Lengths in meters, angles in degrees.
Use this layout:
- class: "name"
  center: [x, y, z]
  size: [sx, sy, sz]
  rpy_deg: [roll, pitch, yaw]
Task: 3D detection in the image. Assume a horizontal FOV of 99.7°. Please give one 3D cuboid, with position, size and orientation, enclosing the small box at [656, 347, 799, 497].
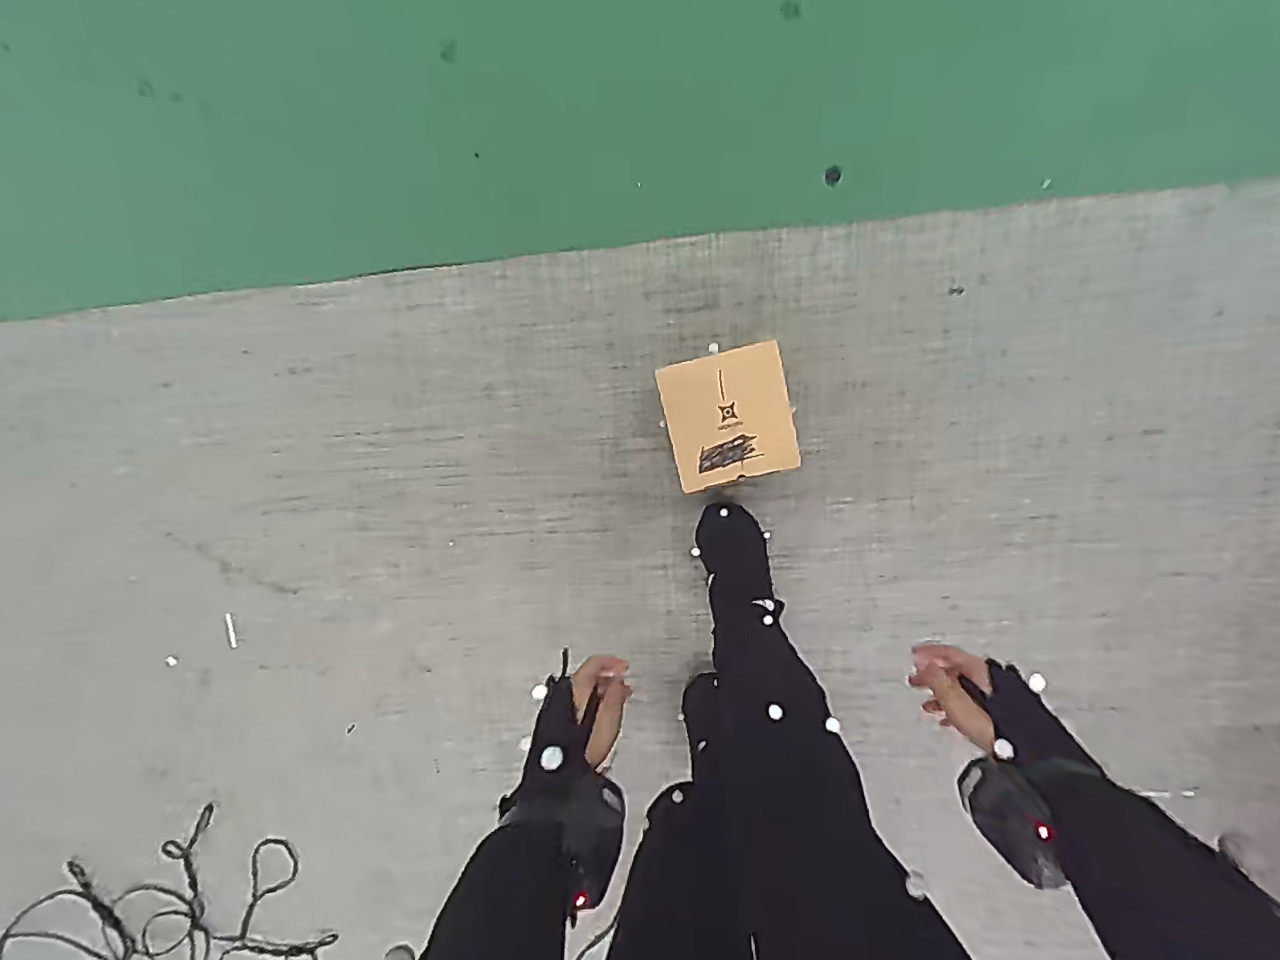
- class: "small box"
  center: [0.126, -0.090, 0.802]
  size: [0.168, 0.176, 0.179]
  rpy_deg: [-13, 99, 7]
